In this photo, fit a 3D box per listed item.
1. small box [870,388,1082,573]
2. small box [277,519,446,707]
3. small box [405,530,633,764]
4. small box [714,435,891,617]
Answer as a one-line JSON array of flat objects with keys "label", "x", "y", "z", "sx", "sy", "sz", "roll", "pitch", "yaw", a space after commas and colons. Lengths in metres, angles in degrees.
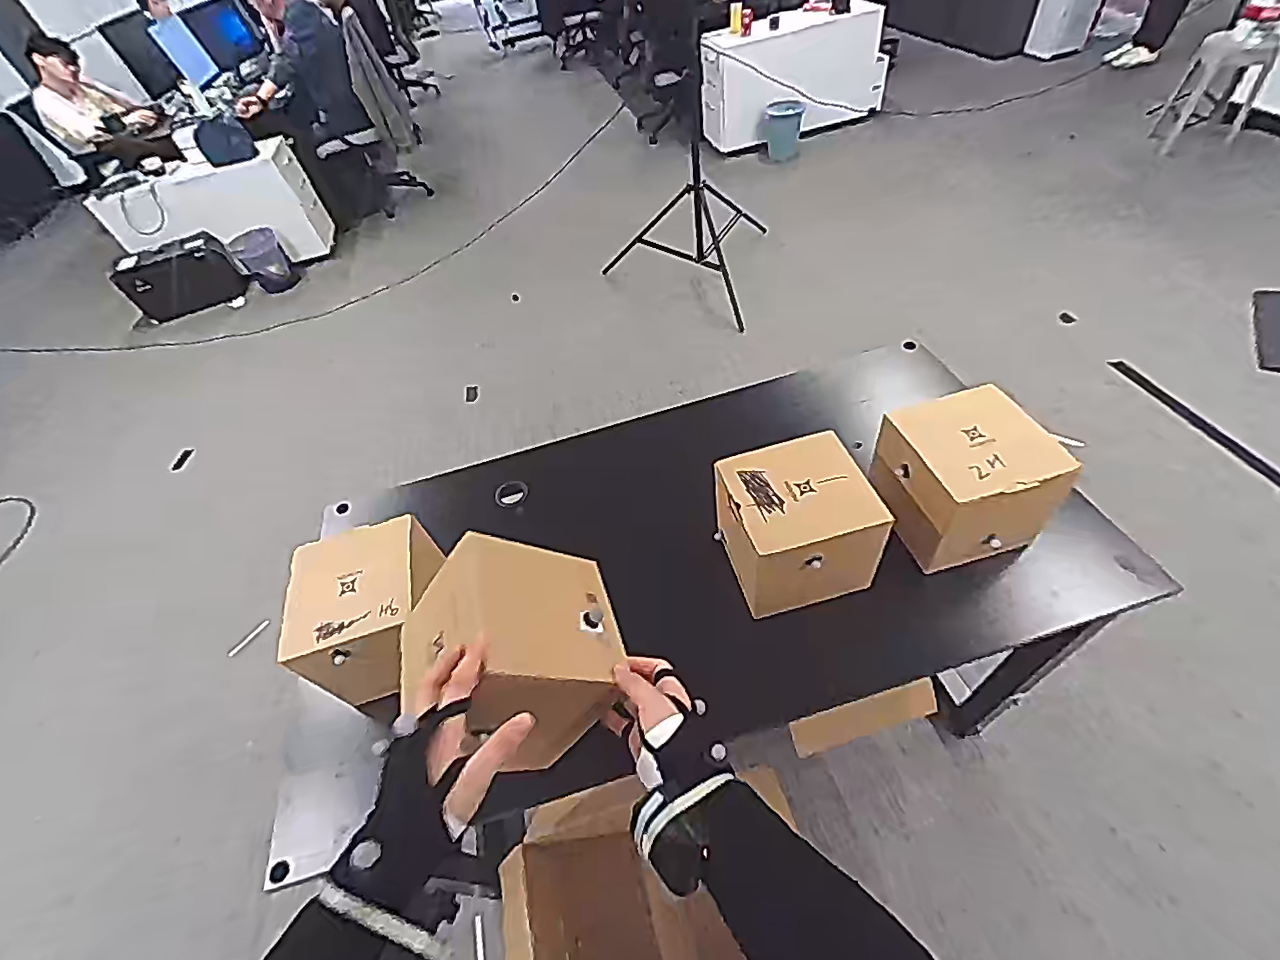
[{"label": "small box", "x": 0.450, "y": 0.002, "z": 0.765, "sx": 0.168, "sy": 0.176, "sz": 0.179, "roll": -16, "pitch": 49, "yaw": -2}, {"label": "small box", "x": -0.364, "y": 0.188, "z": 0.762, "sx": 0.168, "sy": 0.176, "sz": 0.179, "roll": -17, "pitch": 49, "yaw": -4}, {"label": "small box", "x": -0.136, "y": 0.187, "z": 0.589, "sx": 0.179, "sy": 0.176, "sz": 0.168, "roll": -49, "pitch": 42, "yaw": 22}, {"label": "small box", "x": 0.214, "y": 0.069, "z": 0.755, "sx": 0.179, "sy": 0.176, "sz": 0.168, "roll": -15, "pitch": 49, "yaw": -3}]
